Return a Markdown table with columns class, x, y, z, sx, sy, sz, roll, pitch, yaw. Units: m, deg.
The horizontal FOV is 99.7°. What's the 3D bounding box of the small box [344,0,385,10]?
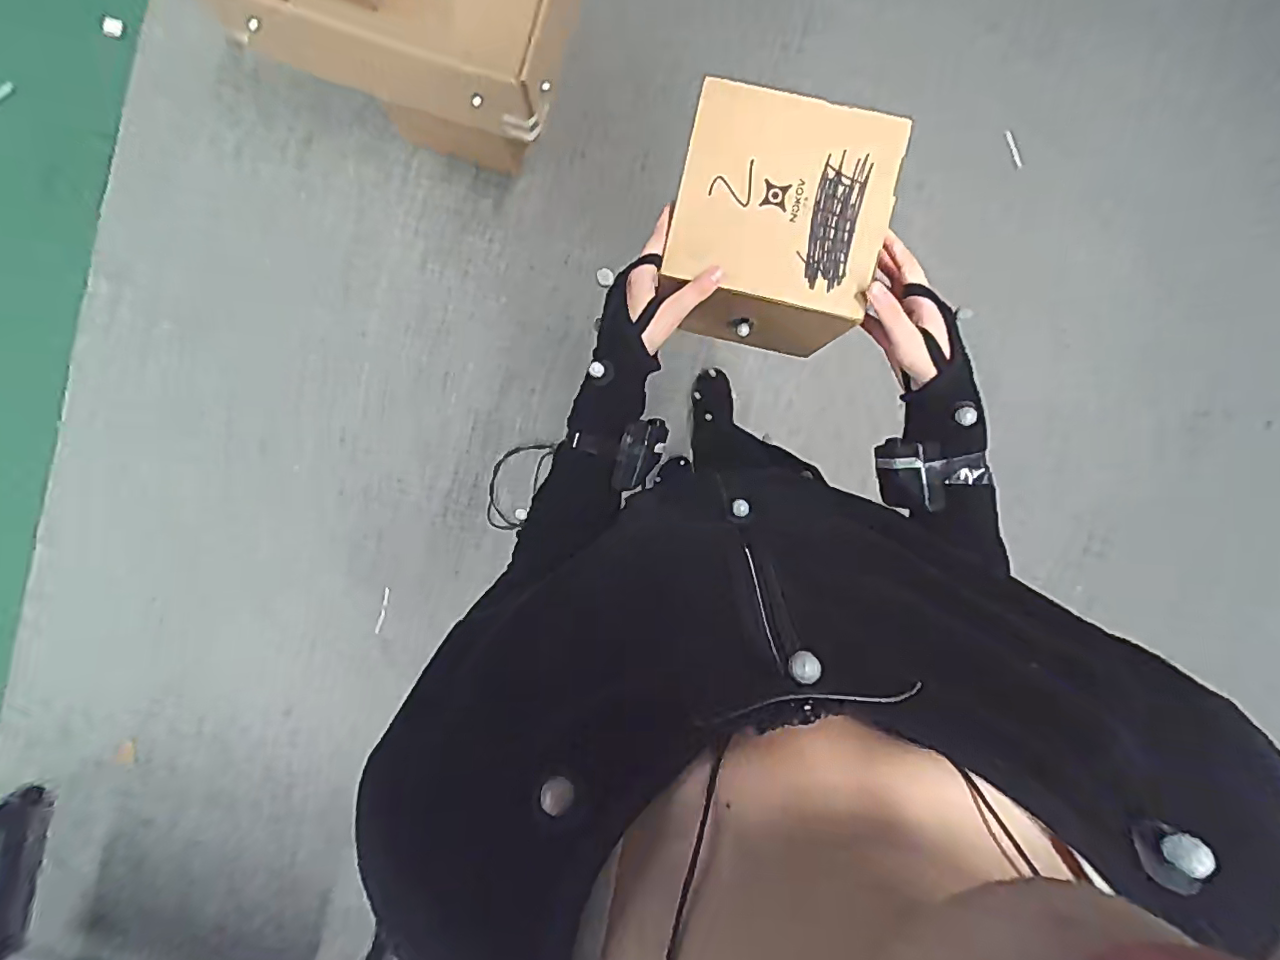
| class | x | y | z | sx | sy | sz | roll | pitch | yaw |
| --- | --- | --- | --- | --- | --- | --- | --- | --- | --- |
| small box | -0.534 | -0.976 | 0.936 | 0.179 | 0.176 | 0.168 | 19 | 94 | 0 |
